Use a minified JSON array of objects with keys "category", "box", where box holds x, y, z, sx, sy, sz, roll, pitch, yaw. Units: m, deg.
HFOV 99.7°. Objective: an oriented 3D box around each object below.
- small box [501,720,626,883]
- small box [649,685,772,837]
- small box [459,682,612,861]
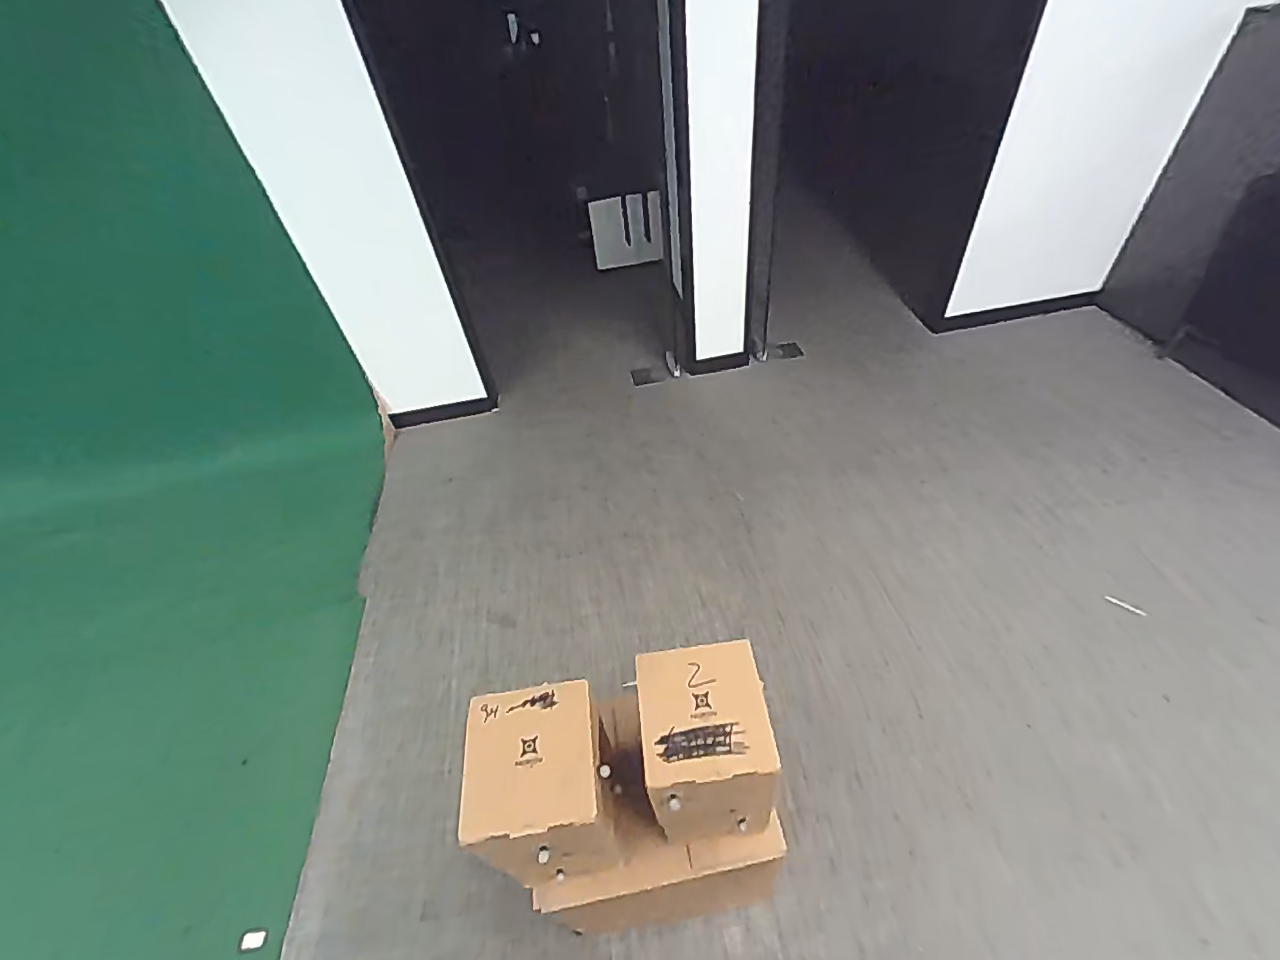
[{"category":"small box","box":[-0.119,0.514,0.865,0.168,0.176,0.179,-10,47,-2]},{"category":"small box","box":[0.112,0.462,0.880,0.168,0.176,0.179,-8,45,1]},{"category":"small box","box":[-0.134,0.405,0.743,0.168,0.176,0.179,-8,47,-1]}]
